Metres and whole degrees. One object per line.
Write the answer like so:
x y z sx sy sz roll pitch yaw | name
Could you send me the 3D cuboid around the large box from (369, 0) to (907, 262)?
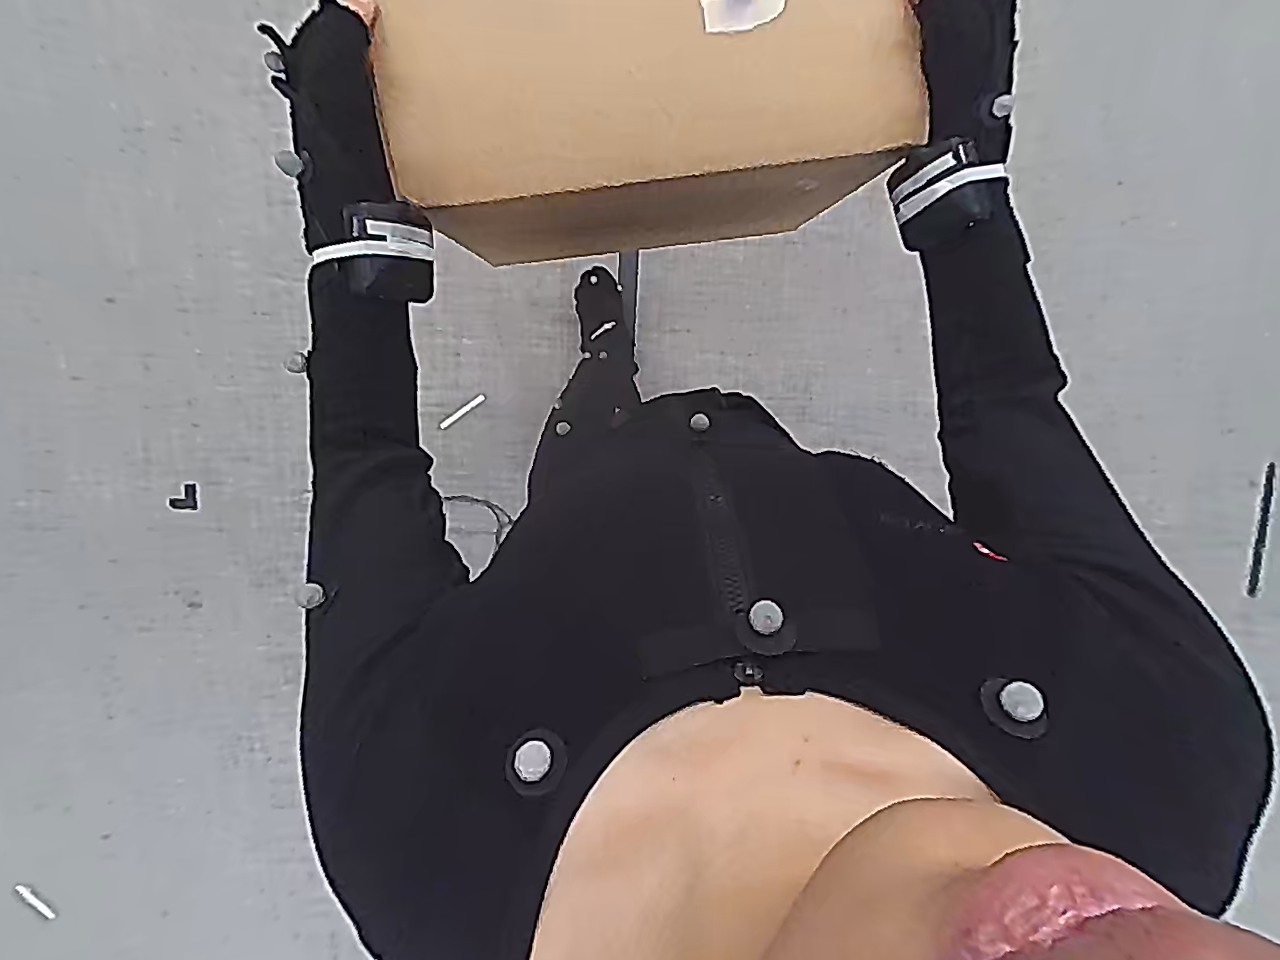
-0.013 -0.426 0.535 0.408 0.320 0.320 -8 105 -1 | large box
